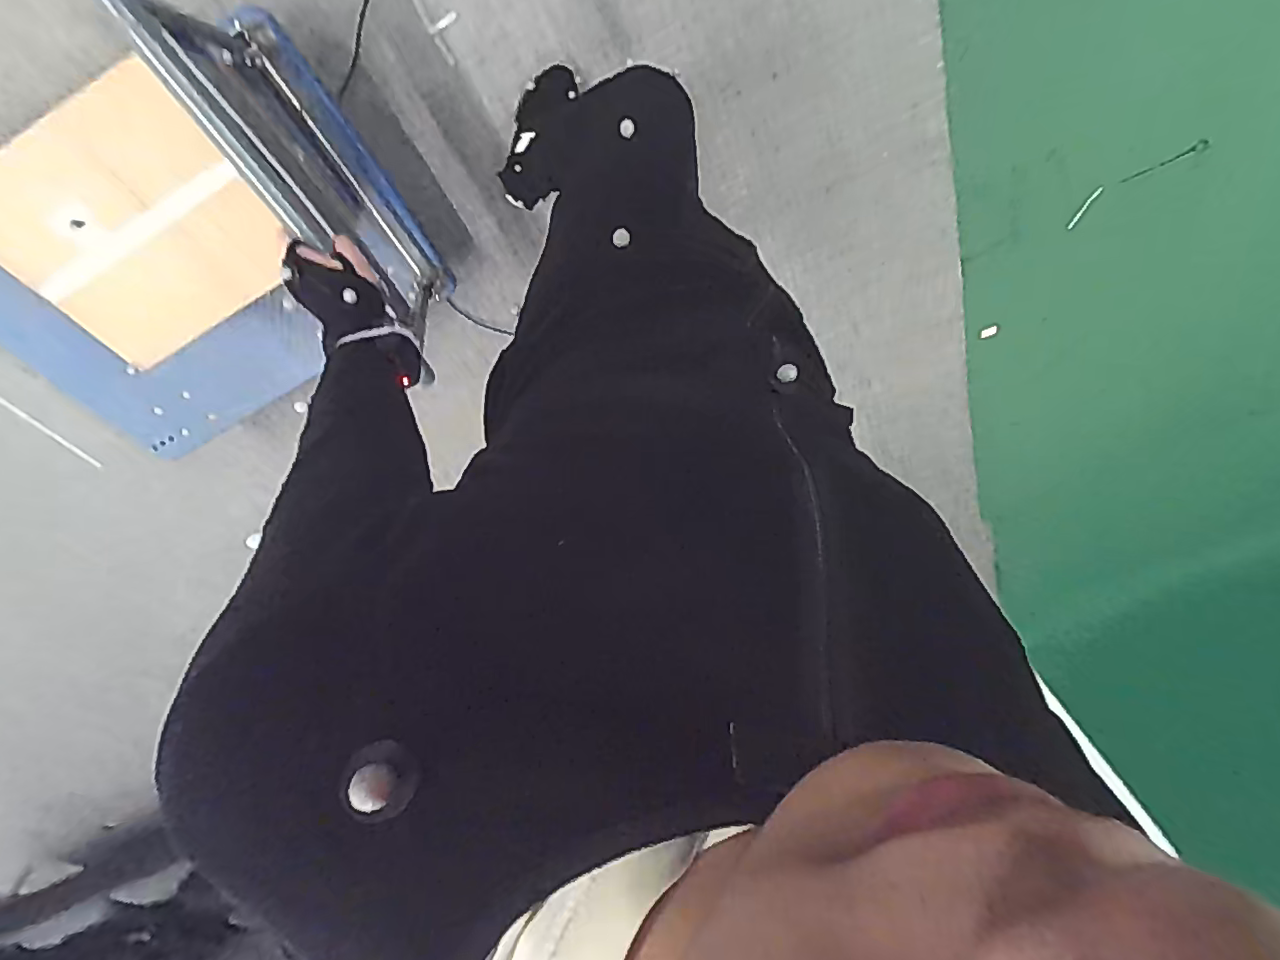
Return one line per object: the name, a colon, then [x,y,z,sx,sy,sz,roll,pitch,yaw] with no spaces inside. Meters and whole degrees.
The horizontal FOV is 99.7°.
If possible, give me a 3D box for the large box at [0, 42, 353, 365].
large box: [-0.803,-0.484,0.956,0.408,0.320,0.320,-29,127,5]
